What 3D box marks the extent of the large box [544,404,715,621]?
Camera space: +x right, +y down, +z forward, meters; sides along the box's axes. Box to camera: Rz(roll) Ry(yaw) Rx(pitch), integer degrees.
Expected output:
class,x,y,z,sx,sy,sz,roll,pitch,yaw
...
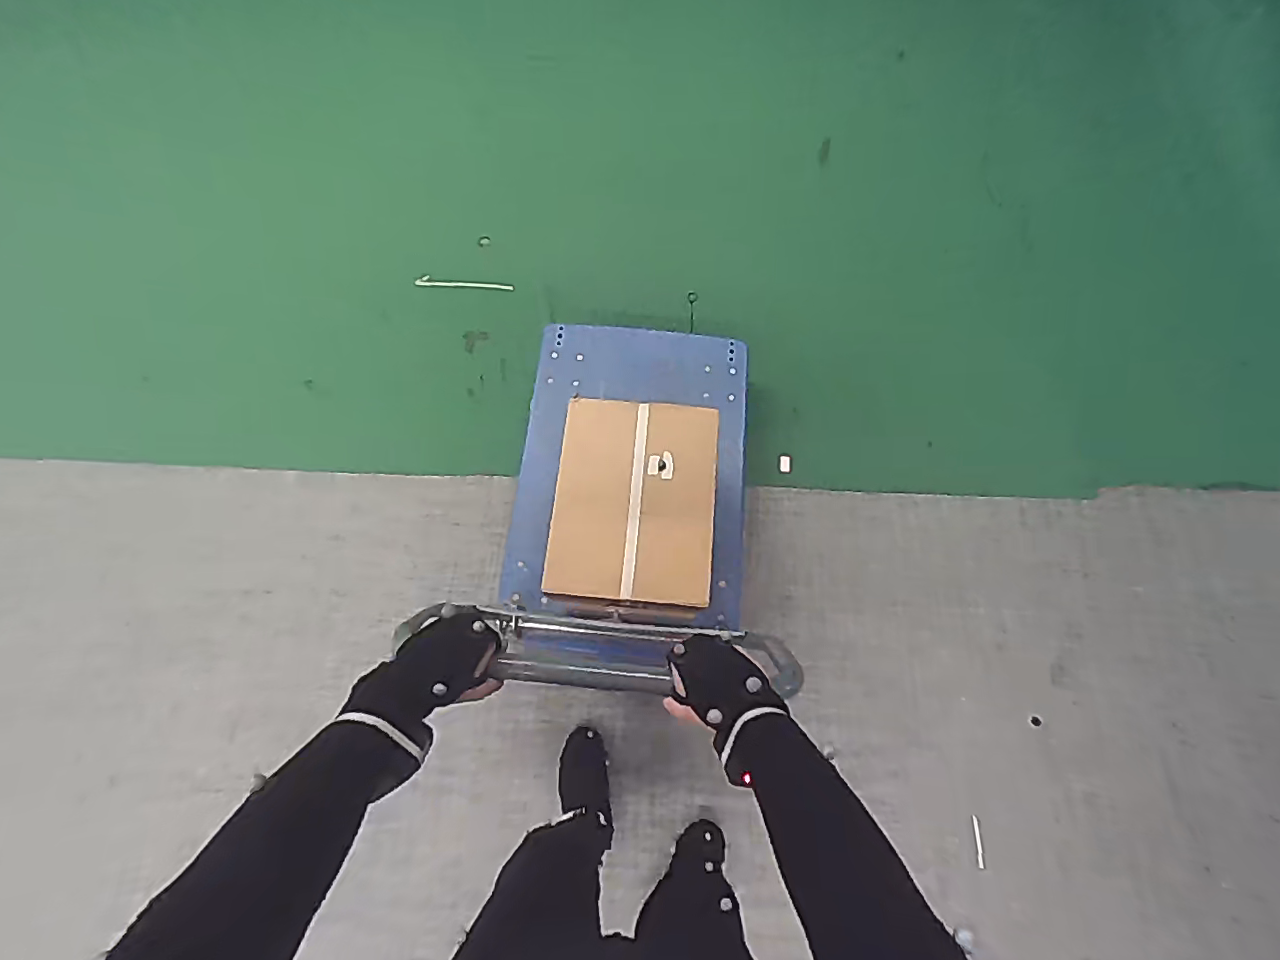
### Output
class,x,y,z,sx,sy,sz,roll,pitch,yaw
large box,-0.012,0.089,1.200,0.320,0.320,0.408,5,71,0
